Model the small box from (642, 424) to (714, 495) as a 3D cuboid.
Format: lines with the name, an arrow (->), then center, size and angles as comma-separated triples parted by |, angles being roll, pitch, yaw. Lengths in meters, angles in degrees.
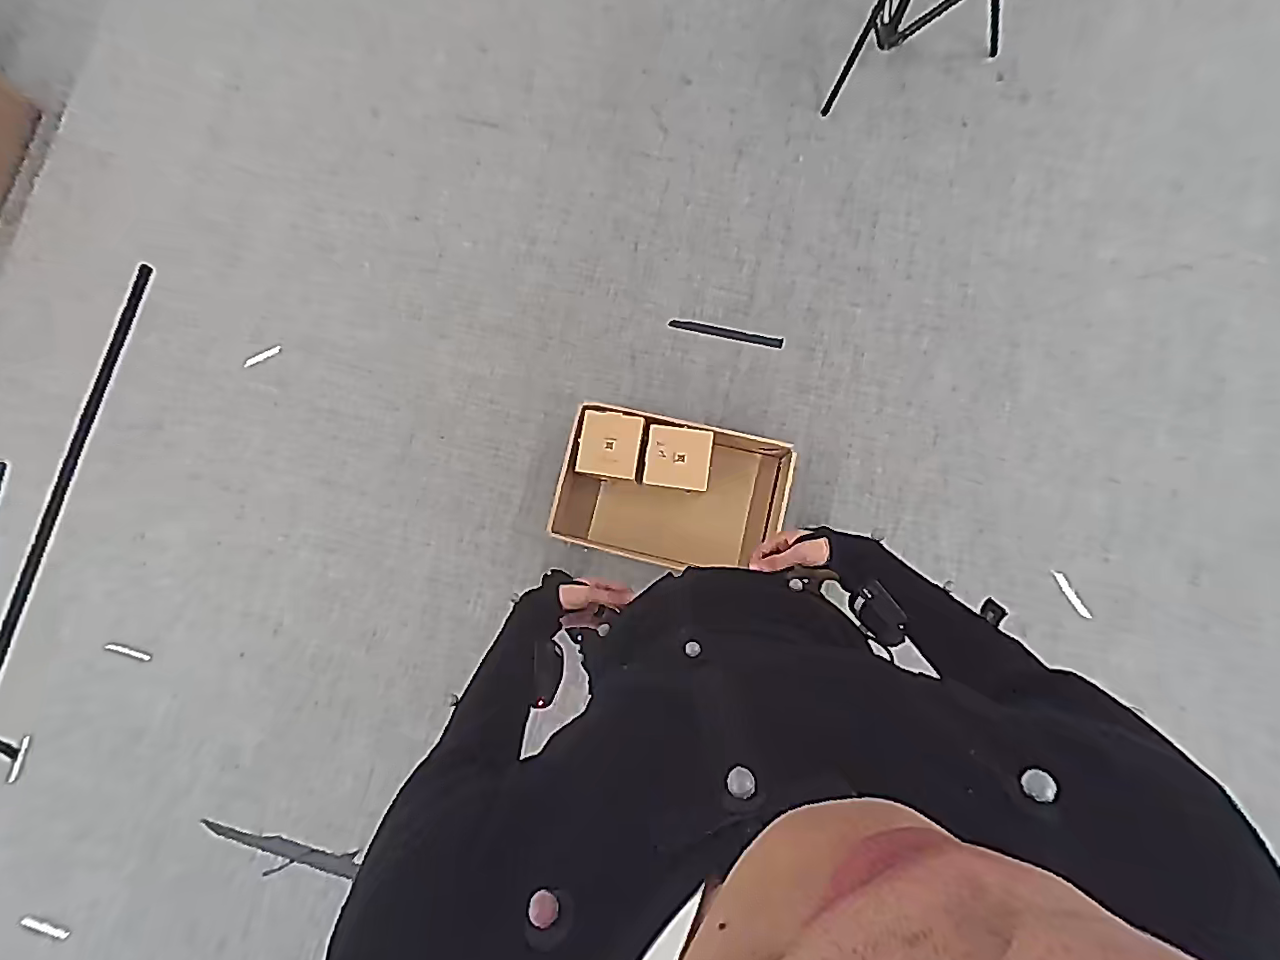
small box -> 0.106, -0.052, 1.524 | 0.179, 0.176, 0.168 | 8, 84, 3
